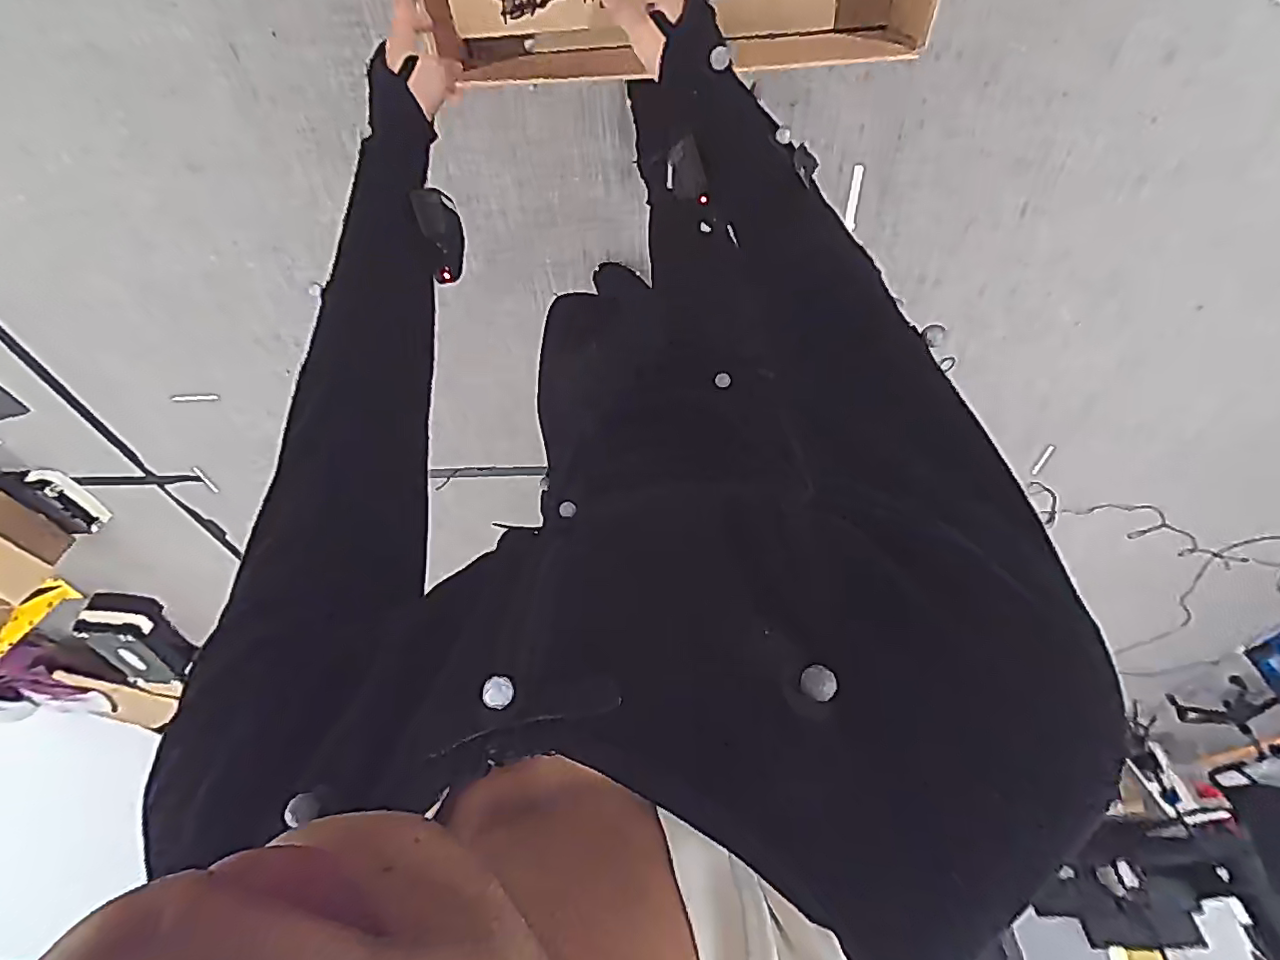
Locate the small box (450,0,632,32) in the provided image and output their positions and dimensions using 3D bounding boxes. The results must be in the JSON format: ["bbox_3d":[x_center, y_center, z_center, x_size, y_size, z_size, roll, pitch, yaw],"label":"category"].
[{"bbox_3d":[-0.093,-0.539,0.499,0.168,0.176,0.179,-1,136,3],"label":"small box"}]
